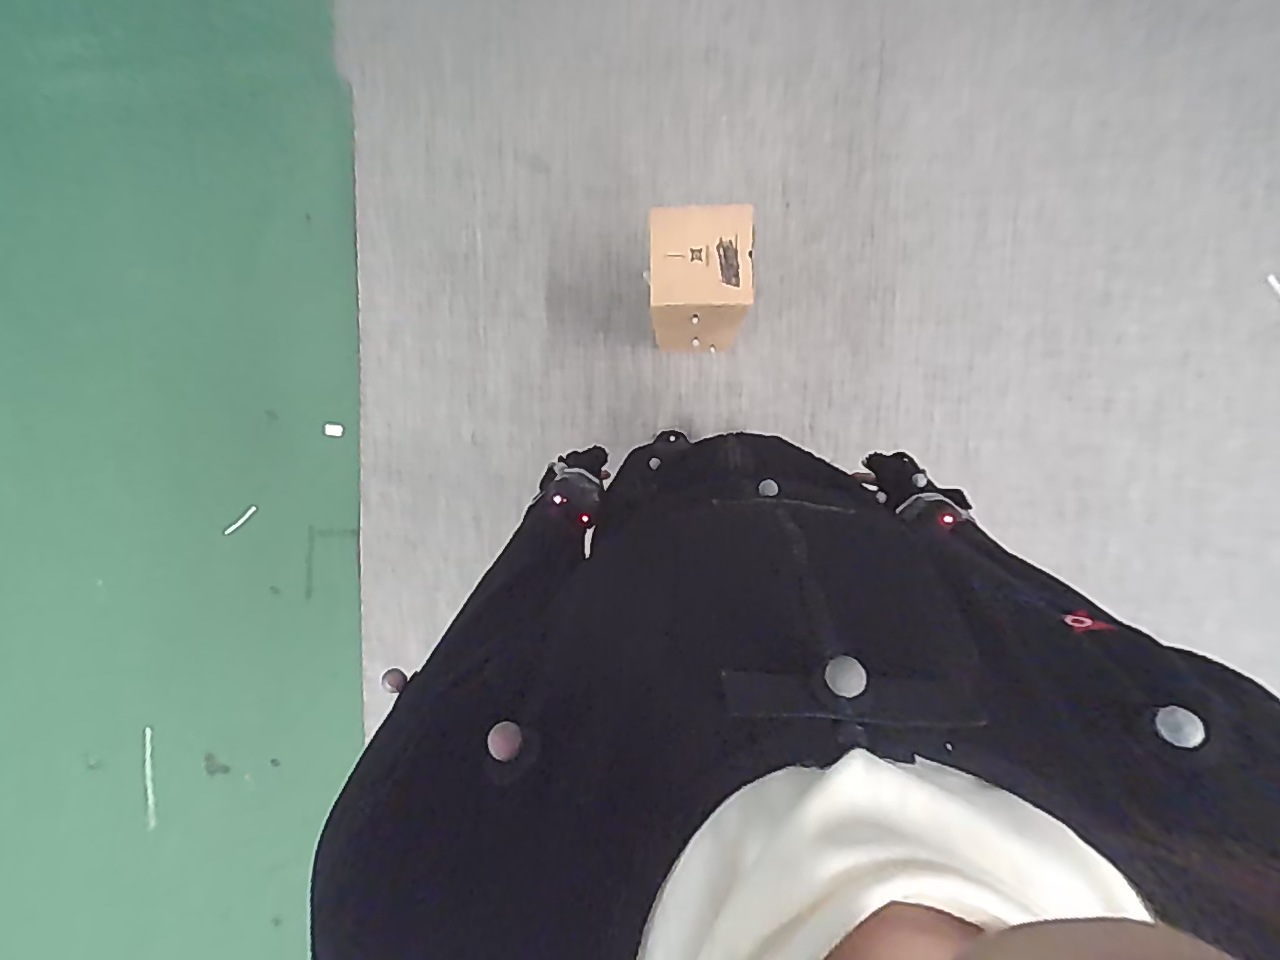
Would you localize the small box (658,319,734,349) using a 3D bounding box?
[{"bbox_3d":[0.136,-0.417,1.316,0.179,0.176,0.168,1,94,5],"label":"small box"}]

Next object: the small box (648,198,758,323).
[{"bbox_3d":[0.109,-0.390,0.987,0.179,0.176,0.168,4,93,3],"label":"small box"}]
